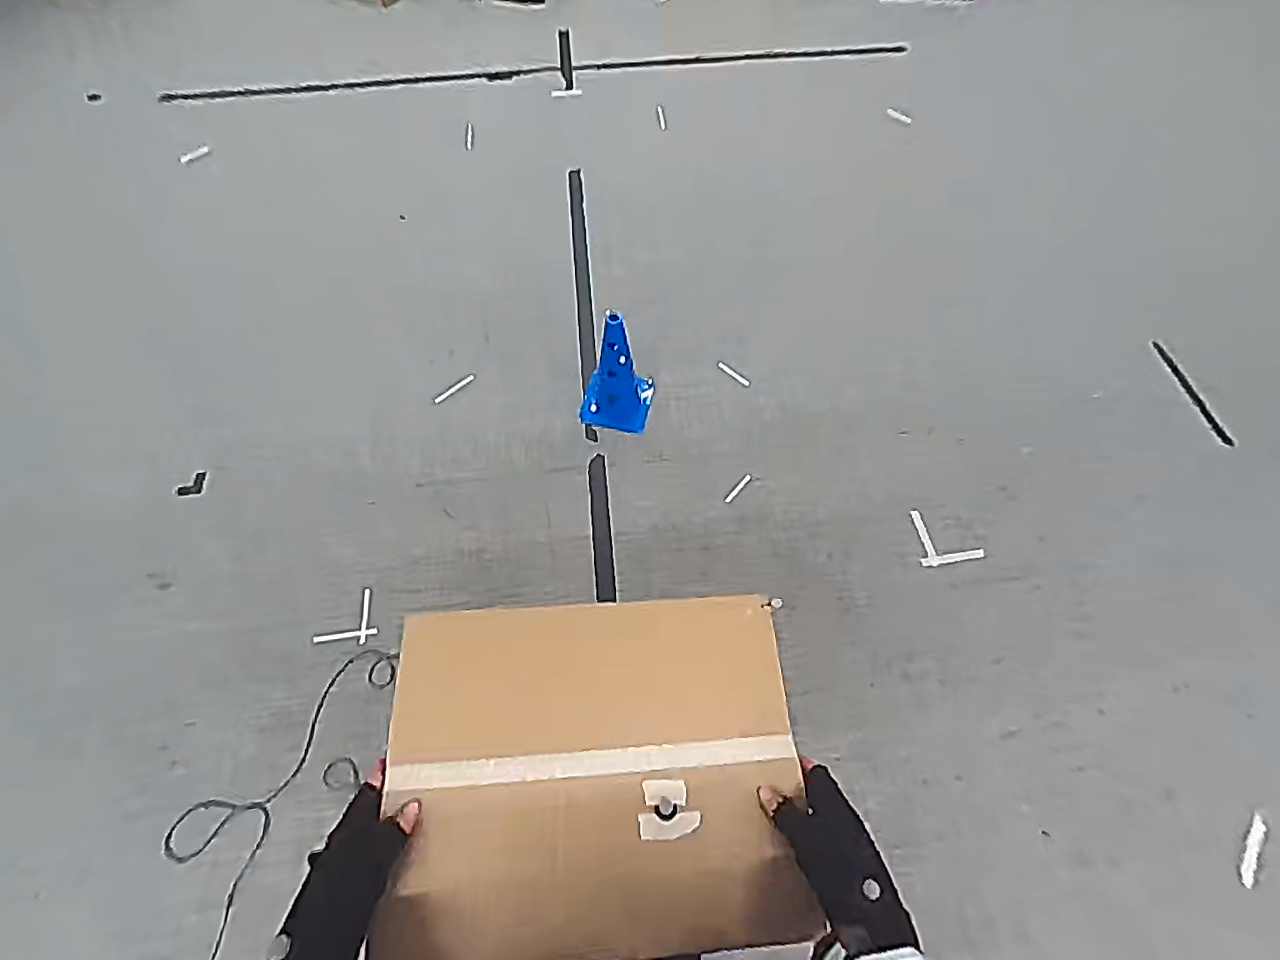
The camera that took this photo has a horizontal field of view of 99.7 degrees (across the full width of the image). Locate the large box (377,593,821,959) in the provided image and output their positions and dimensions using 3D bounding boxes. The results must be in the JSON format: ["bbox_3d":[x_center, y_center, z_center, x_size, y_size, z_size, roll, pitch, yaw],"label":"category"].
[{"bbox_3d":[-0.049,0.343,0.676,0.408,0.320,0.320,-2,63,-4],"label":"large box"}]

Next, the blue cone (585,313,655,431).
[{"bbox_3d":[-0.060,-0.312,1.511,0.193,0.380,0.192,13,64,6],"label":"blue cone"}]
